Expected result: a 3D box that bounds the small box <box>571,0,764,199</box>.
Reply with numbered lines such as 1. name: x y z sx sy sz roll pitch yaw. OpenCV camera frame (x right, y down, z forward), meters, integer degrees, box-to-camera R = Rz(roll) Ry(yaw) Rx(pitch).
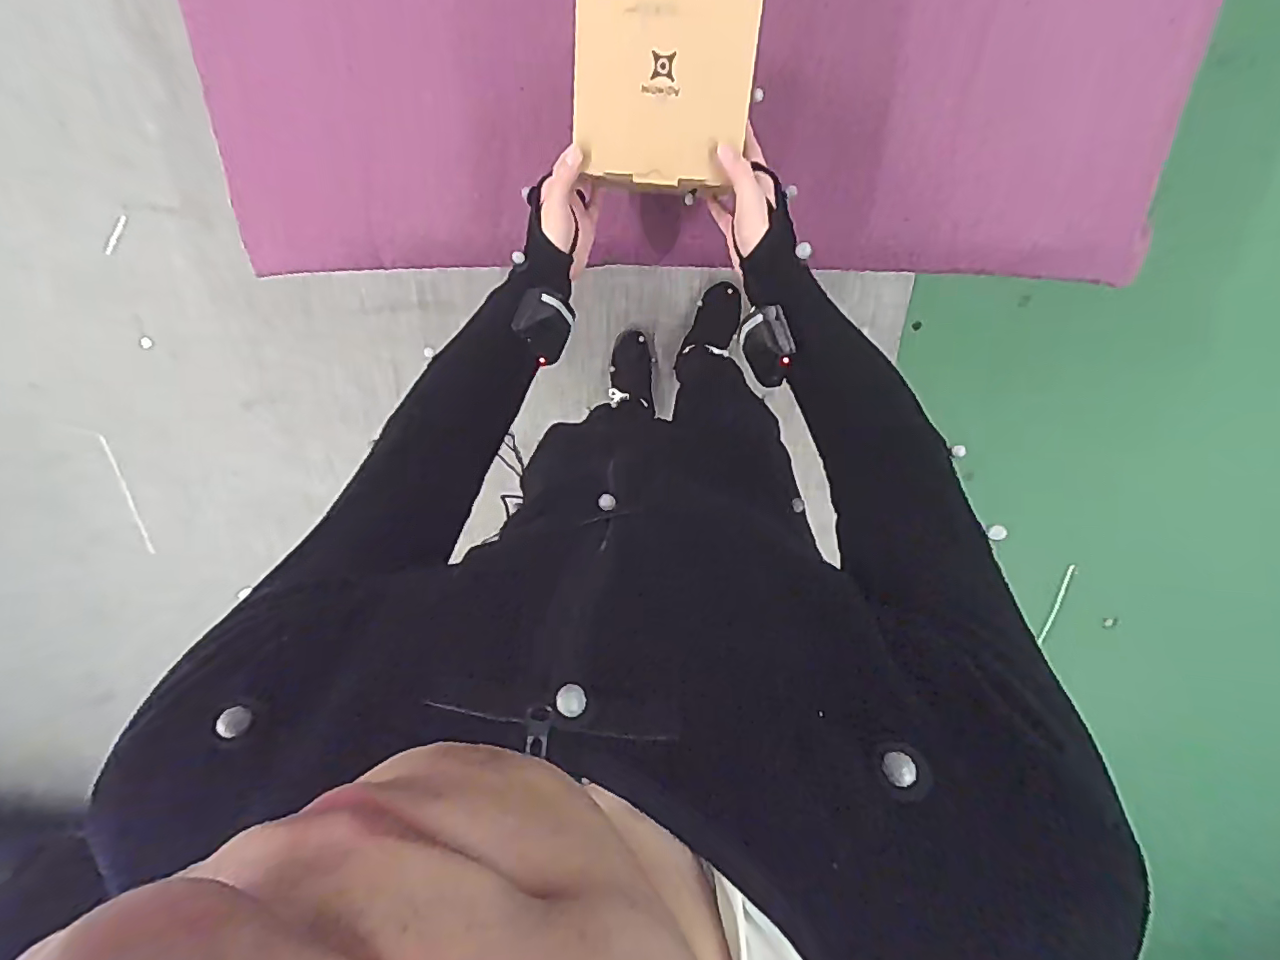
1. small box: 0.028 -0.399 0.562 0.168 0.176 0.179 7 114 2
